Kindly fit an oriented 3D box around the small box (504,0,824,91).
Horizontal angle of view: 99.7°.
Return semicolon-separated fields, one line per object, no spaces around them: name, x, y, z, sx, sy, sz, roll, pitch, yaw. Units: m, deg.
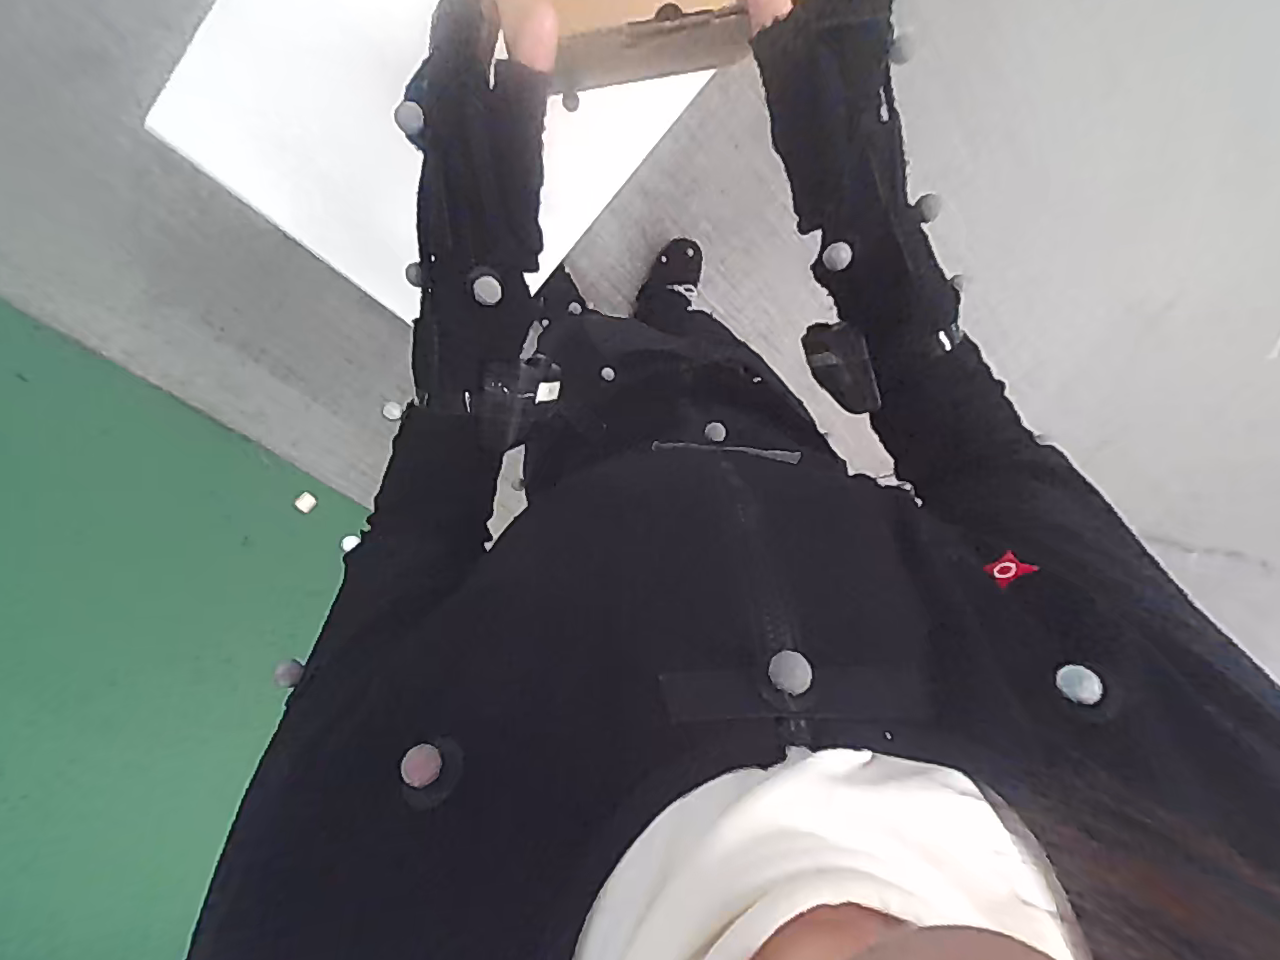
small box;-0.002;-0.340;0.304;0.168;0.176;0.179;-10;118;-2
